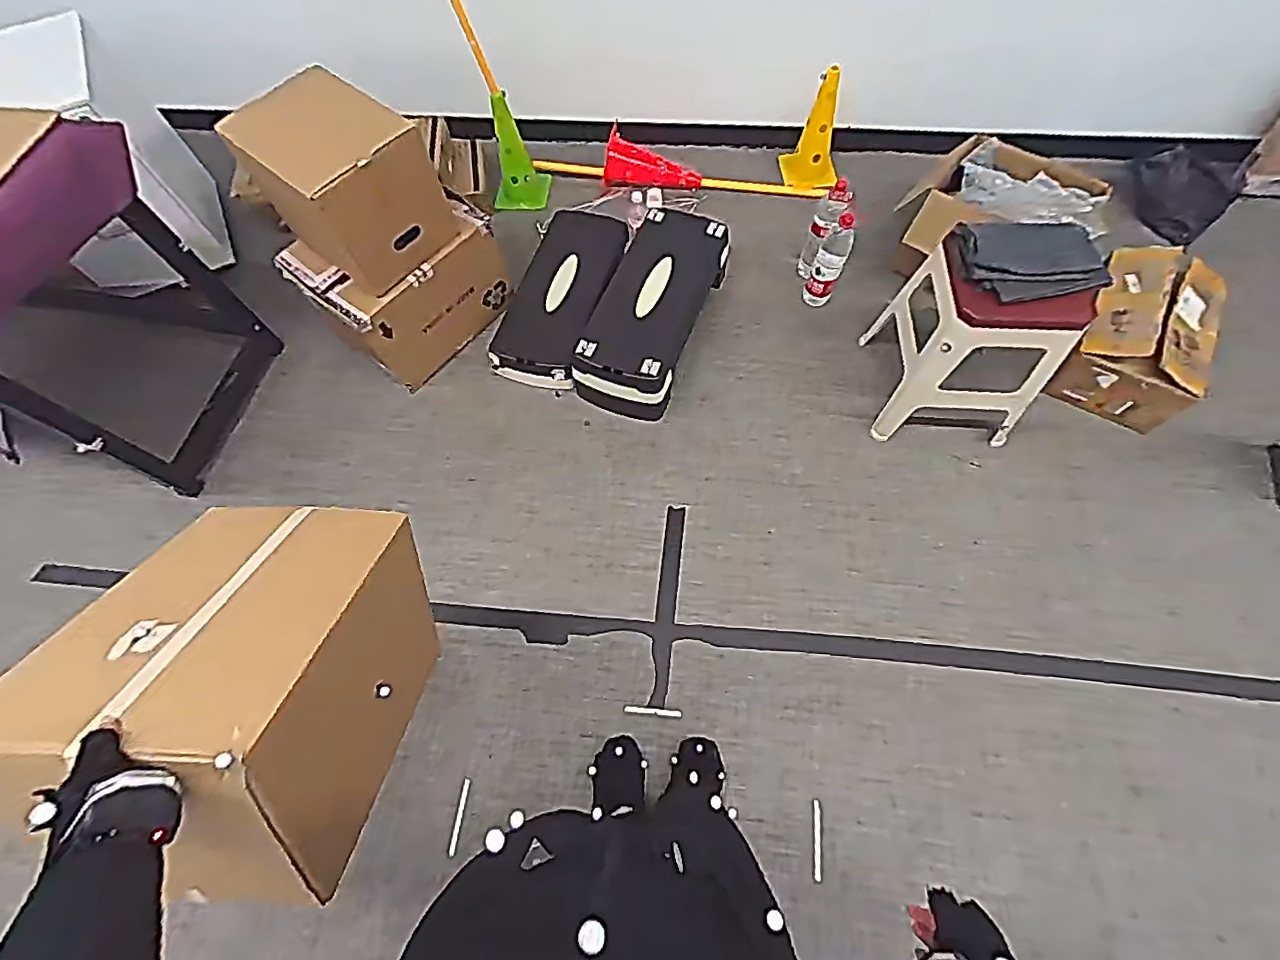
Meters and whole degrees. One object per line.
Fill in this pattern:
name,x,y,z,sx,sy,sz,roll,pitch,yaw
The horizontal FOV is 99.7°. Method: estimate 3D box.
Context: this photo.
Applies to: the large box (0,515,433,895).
large box,-0.535,0.293,0.777,0.320,0.320,0.408,1,32,1
